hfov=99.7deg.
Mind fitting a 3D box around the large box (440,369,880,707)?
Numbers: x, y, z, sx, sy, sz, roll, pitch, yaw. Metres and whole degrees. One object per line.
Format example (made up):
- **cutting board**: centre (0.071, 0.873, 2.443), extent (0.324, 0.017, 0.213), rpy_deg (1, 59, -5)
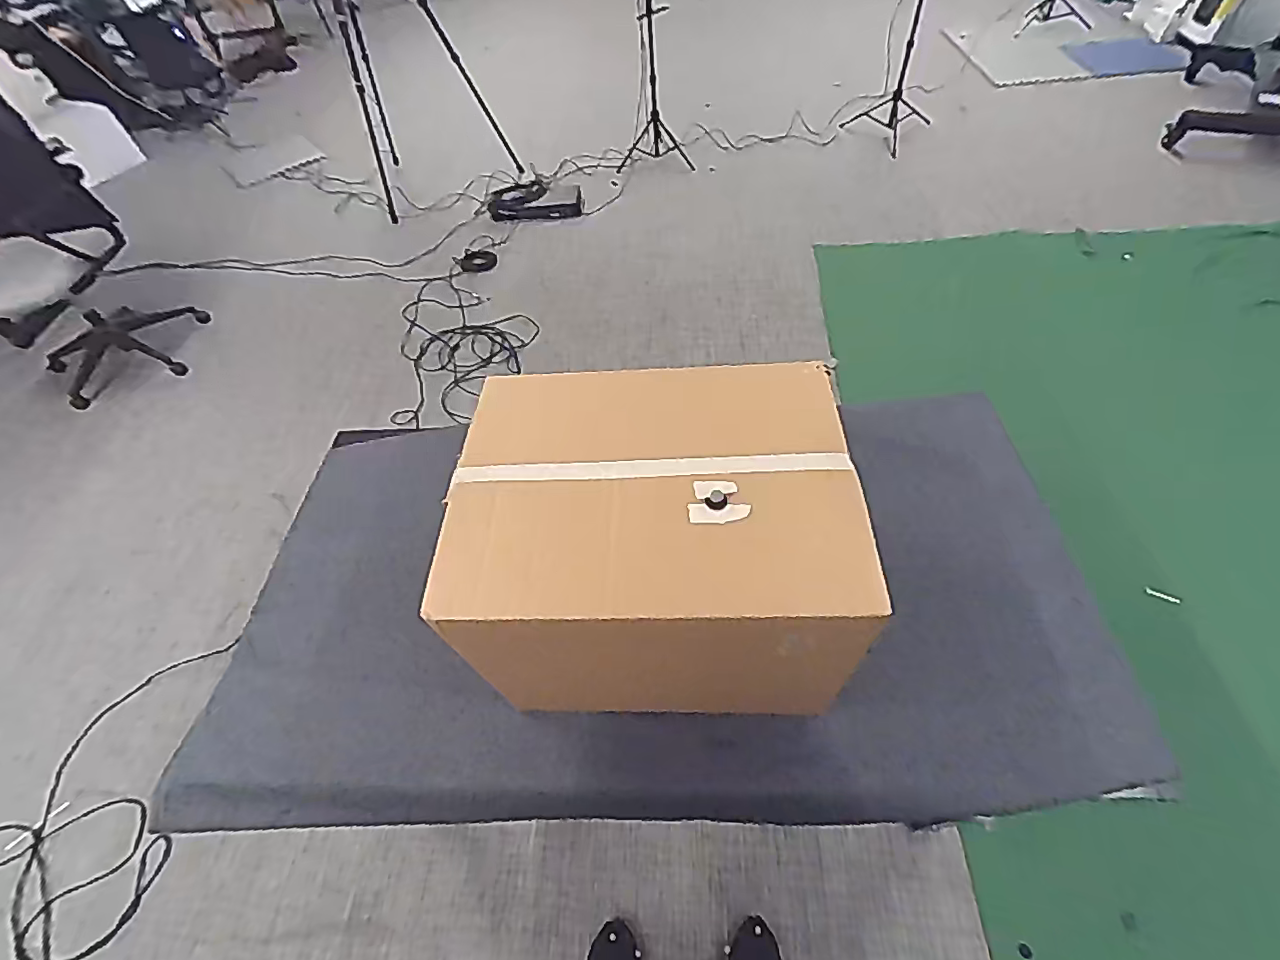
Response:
- **large box**: centre (0.024, 0.086, 0.686), extent (0.408, 0.320, 0.320), rpy_deg (-2, 54, 4)
